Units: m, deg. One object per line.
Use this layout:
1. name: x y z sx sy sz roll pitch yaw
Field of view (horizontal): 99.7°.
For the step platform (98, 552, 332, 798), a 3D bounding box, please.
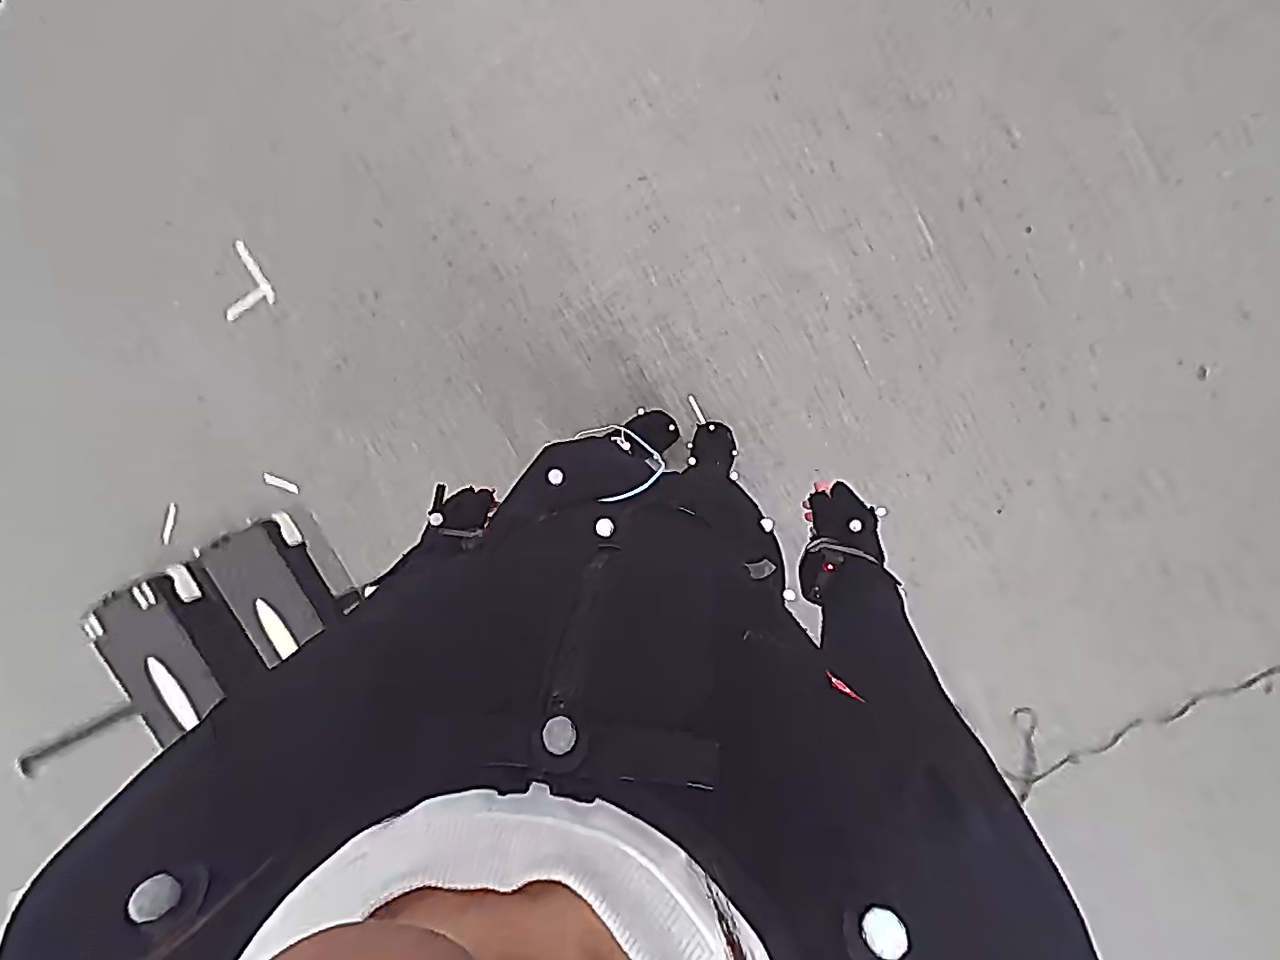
1. step platform: -1.226 0.567 1.577 0.286 0.204 0.684 -28 94 9
